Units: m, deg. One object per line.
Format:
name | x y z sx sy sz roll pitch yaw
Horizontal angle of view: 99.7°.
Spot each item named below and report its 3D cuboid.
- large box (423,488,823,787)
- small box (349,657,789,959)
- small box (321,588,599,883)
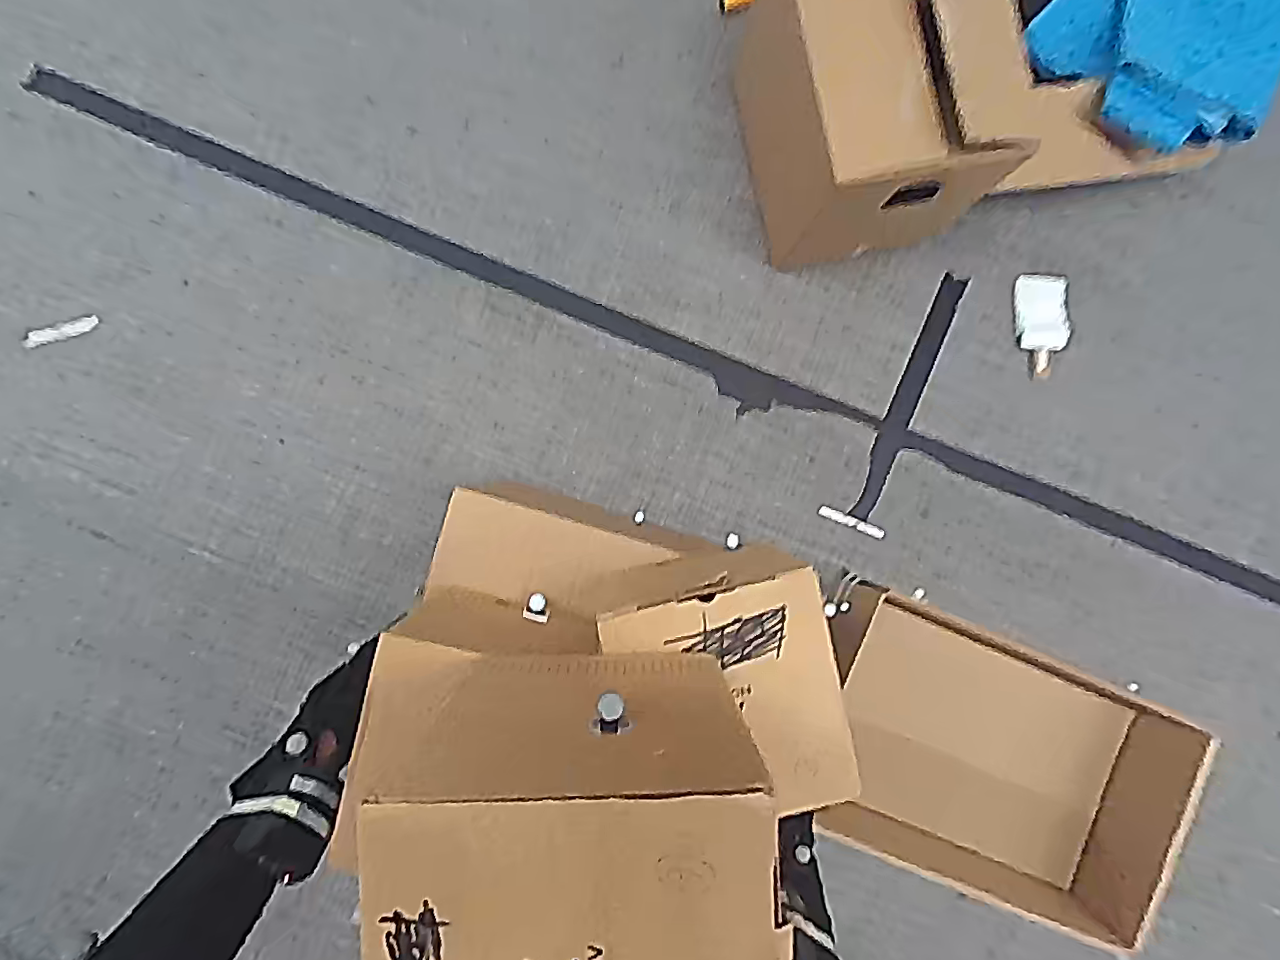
large box | -0.046 0.206 0.702 0.408 0.320 0.320 16 91 -3
small box | -0.030 0.205 0.296 0.179 0.176 0.168 -1 91 -2
small box | -0.129 0.206 0.457 0.168 0.176 0.179 12 89 -4
